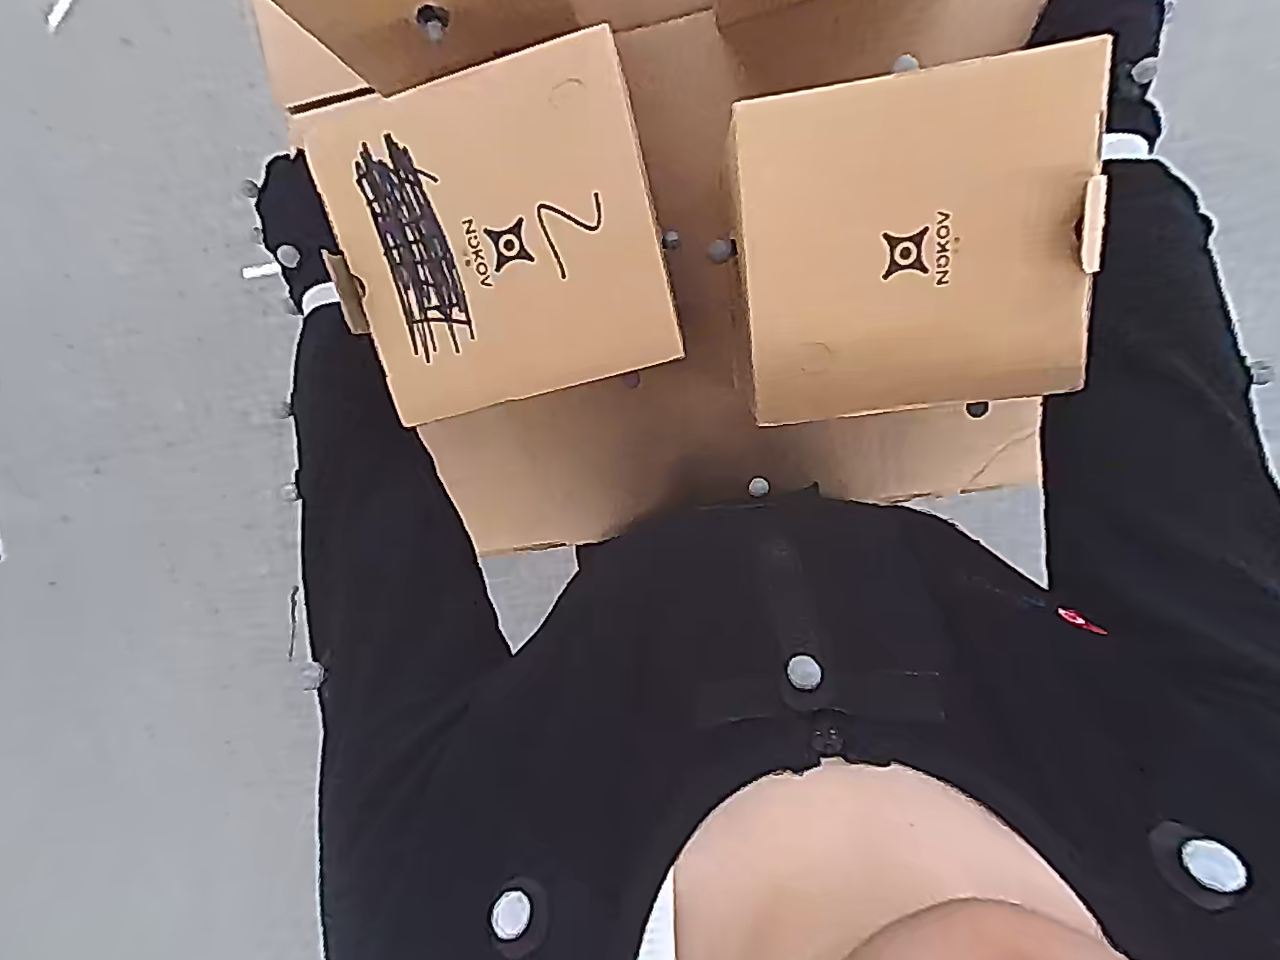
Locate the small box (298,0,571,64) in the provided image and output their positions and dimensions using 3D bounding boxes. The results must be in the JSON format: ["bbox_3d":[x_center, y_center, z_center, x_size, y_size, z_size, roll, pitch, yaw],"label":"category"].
[{"bbox_3d":[-0.148,-0.392,0.324,0.168,0.176,0.179,-9,101,7],"label":"small box"}]
